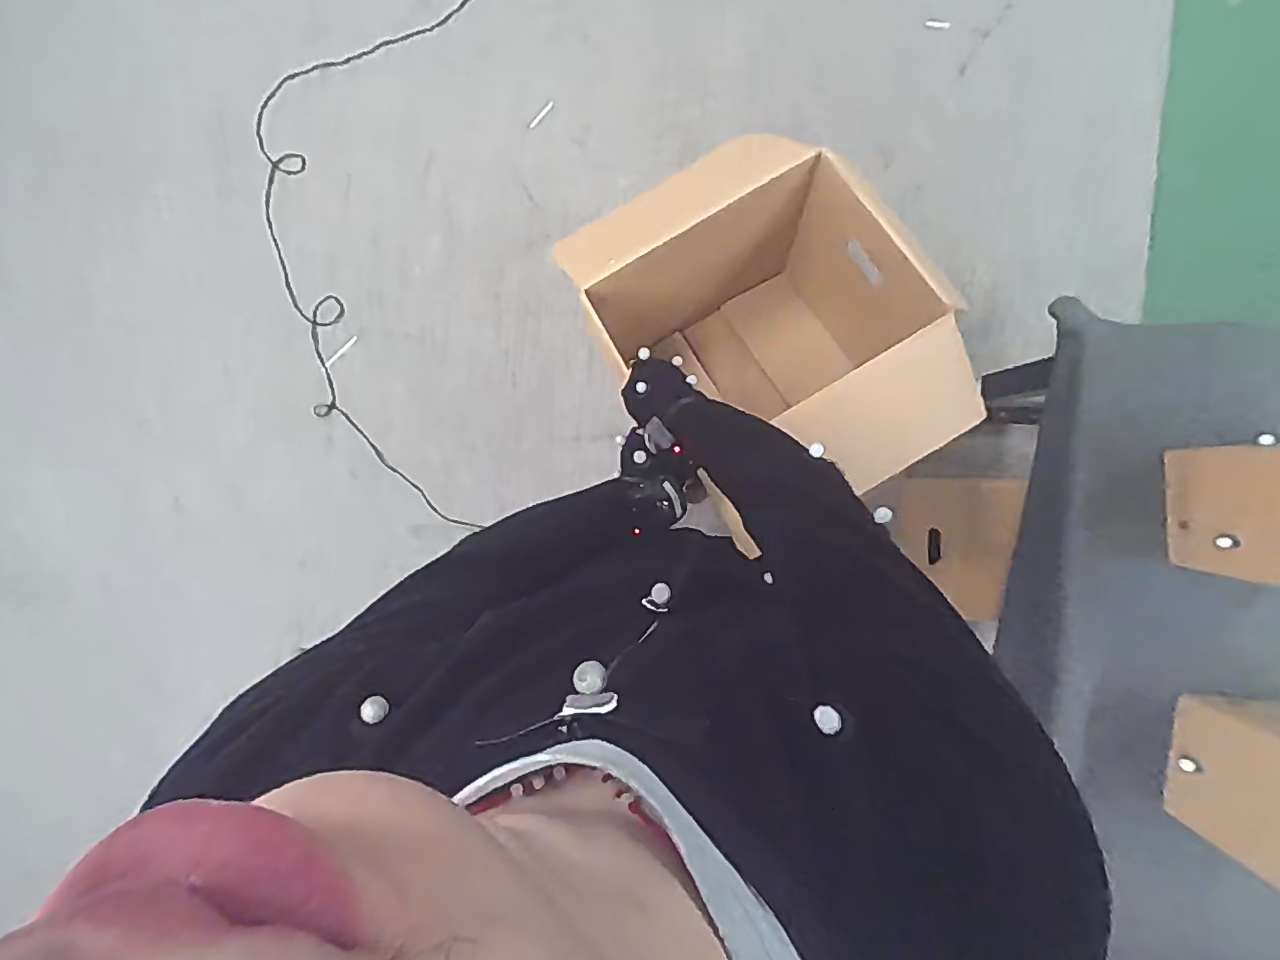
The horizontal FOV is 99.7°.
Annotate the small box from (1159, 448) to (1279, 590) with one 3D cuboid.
[{"bbox_3d":[0.830,0.044,0.701,0.179,0.176,0.168,-4,93,0],"label":"small box"}]

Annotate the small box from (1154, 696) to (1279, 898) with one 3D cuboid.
[{"bbox_3d":[0.838,0.413,0.711,0.168,0.176,0.179,6,93,2],"label":"small box"}]
